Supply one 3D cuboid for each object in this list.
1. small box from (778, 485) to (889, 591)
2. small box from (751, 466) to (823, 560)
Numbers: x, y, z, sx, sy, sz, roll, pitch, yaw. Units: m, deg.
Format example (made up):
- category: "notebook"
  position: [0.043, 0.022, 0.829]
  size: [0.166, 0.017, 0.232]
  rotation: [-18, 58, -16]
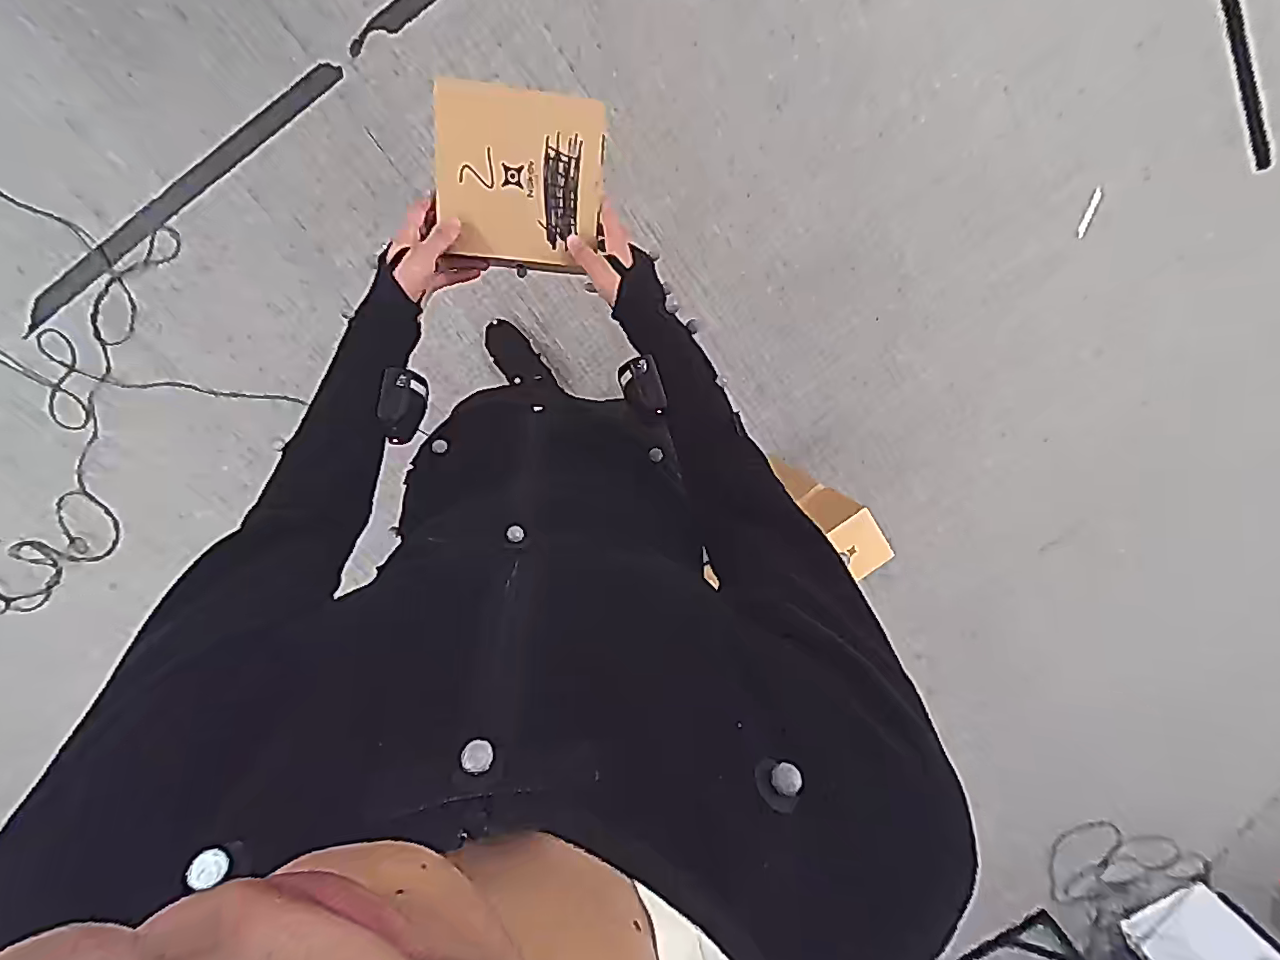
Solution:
- category: "small box"
  position: [0.481, 0.139, 1.366]
  size: [0.179, 0.176, 0.168]
  rotation: [-35, 110, 4]
- category: "small box"
  position: [0.443, 0.087, 1.515]
  size: [0.168, 0.176, 0.179]
  rotation: [-40, 109, 5]
